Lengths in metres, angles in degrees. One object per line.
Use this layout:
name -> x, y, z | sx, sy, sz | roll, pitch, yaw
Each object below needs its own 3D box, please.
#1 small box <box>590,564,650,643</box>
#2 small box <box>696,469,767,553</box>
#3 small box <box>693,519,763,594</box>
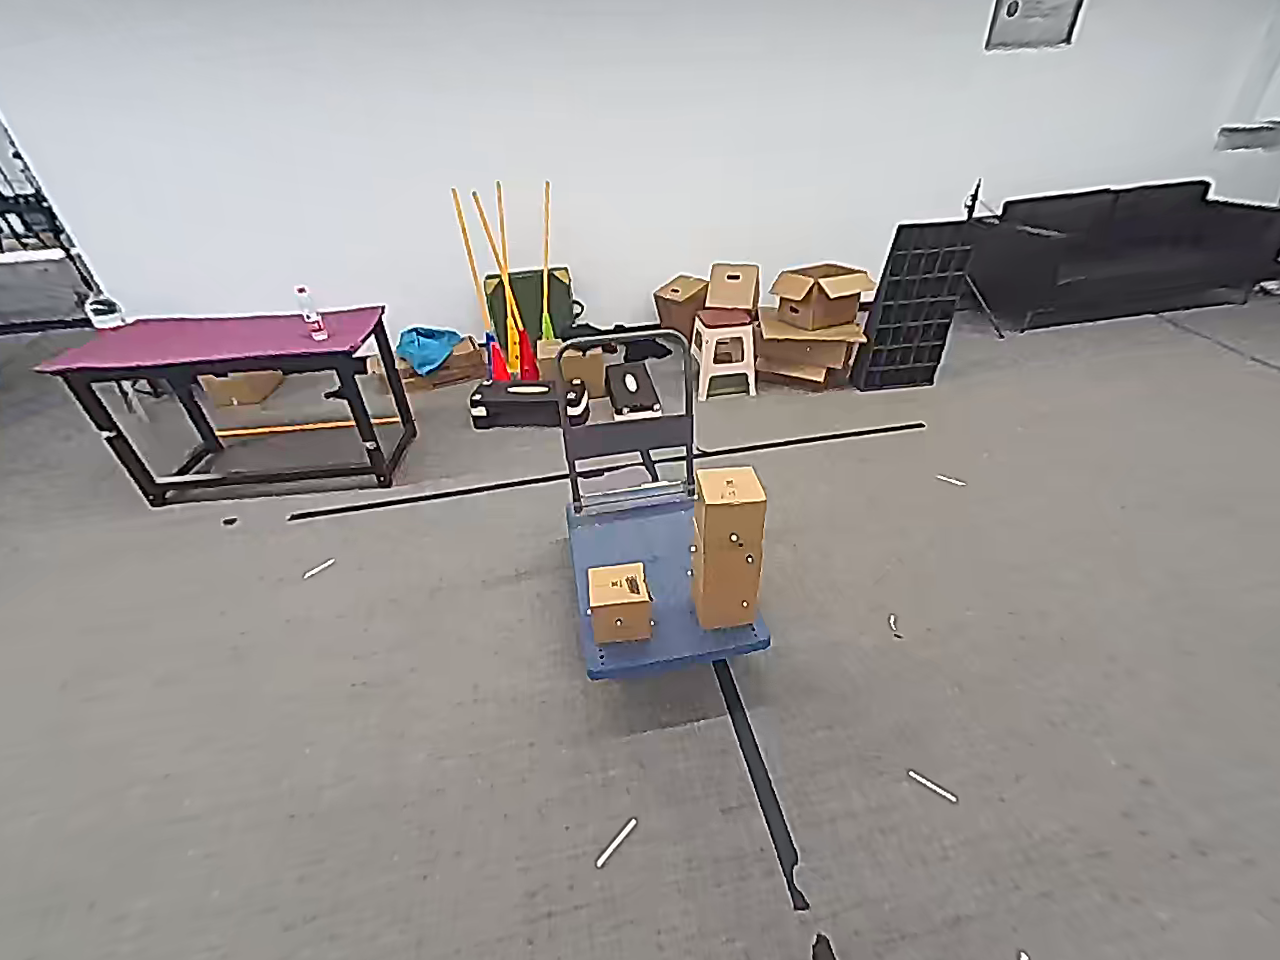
small box -> -0.063, 0.387, 1.689 | 0.179, 0.176, 0.168 | -6, 34, -3
small box -> 0.251, 0.086, 1.530 | 0.168, 0.176, 0.179 | -3, 34, -2
small box -> 0.257, 0.225, 1.619 | 0.179, 0.176, 0.168 | -4, 34, -3
